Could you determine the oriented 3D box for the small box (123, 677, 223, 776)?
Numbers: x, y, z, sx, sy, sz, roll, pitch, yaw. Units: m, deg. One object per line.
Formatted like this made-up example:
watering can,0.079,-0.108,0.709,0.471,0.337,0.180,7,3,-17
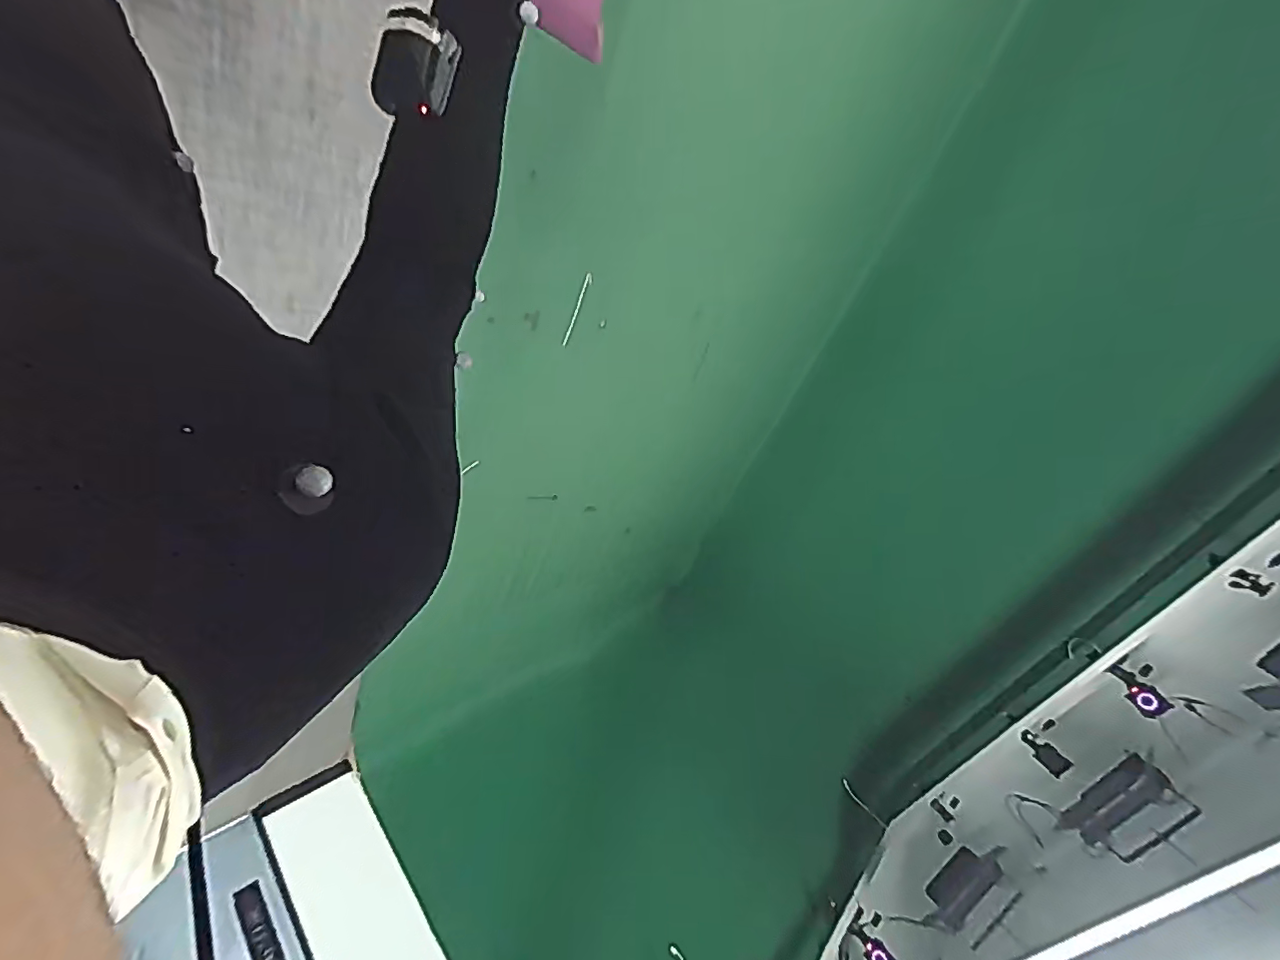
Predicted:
small box,-1.355,0.705,1.569,0.179,0.176,0.168,-5,132,-54
